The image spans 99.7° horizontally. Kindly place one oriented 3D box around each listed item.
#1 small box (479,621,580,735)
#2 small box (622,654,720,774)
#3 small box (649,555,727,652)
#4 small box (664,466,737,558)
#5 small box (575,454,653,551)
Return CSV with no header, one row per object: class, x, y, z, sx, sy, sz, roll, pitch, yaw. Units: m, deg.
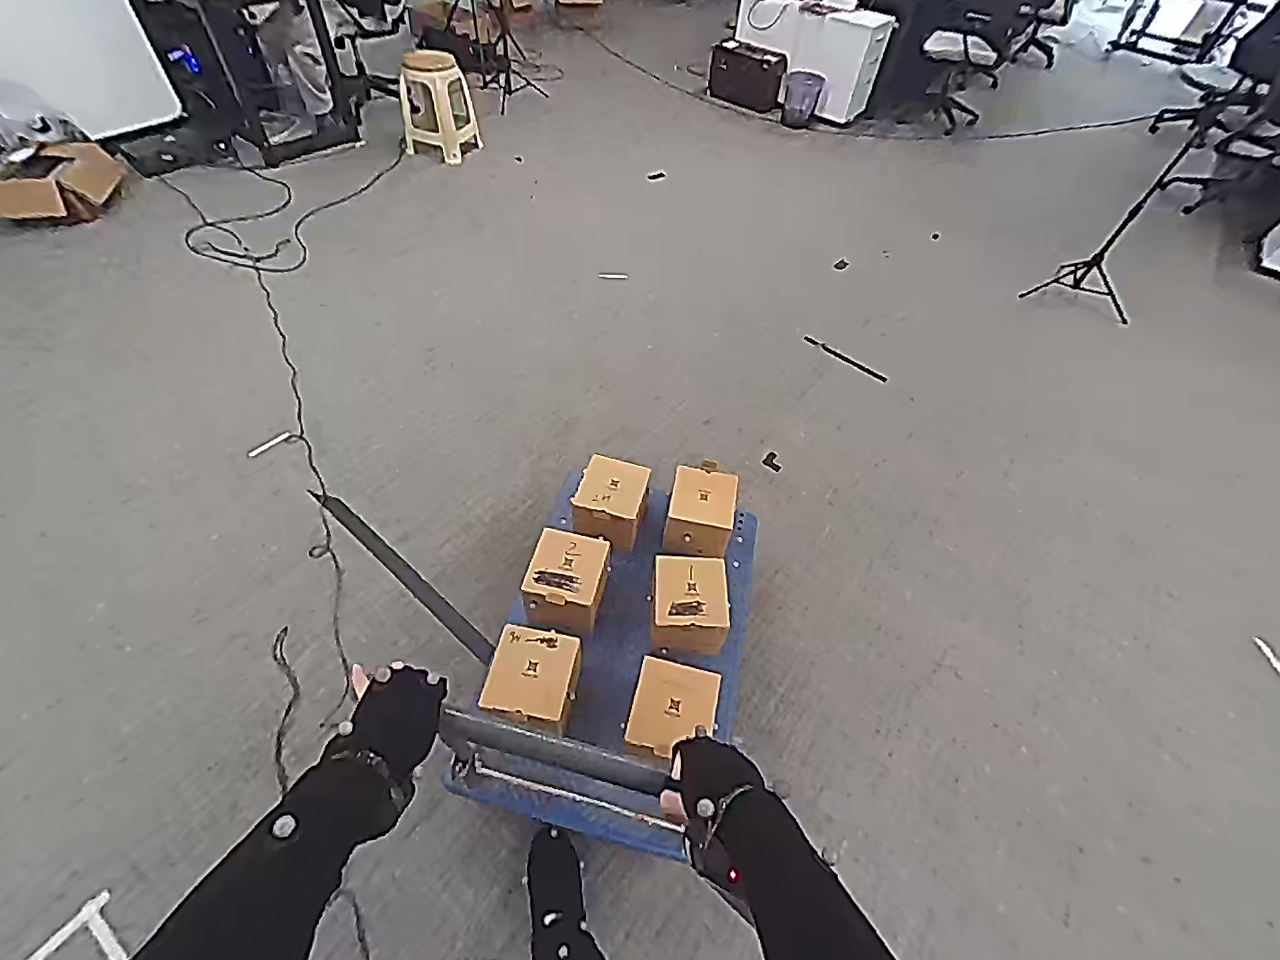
small box,-0.227,0.433,1.168,0.168,0.176,0.179,11,53,3
small box,0.062,0.500,1.144,0.168,0.176,0.179,14,52,5
small box,0.111,0.301,1.302,0.168,0.176,0.179,4,51,-2
small box,0.161,0.091,1.469,0.168,0.176,0.179,11,52,4
small box,-0.073,0.064,1.466,0.168,0.176,0.179,15,53,7
